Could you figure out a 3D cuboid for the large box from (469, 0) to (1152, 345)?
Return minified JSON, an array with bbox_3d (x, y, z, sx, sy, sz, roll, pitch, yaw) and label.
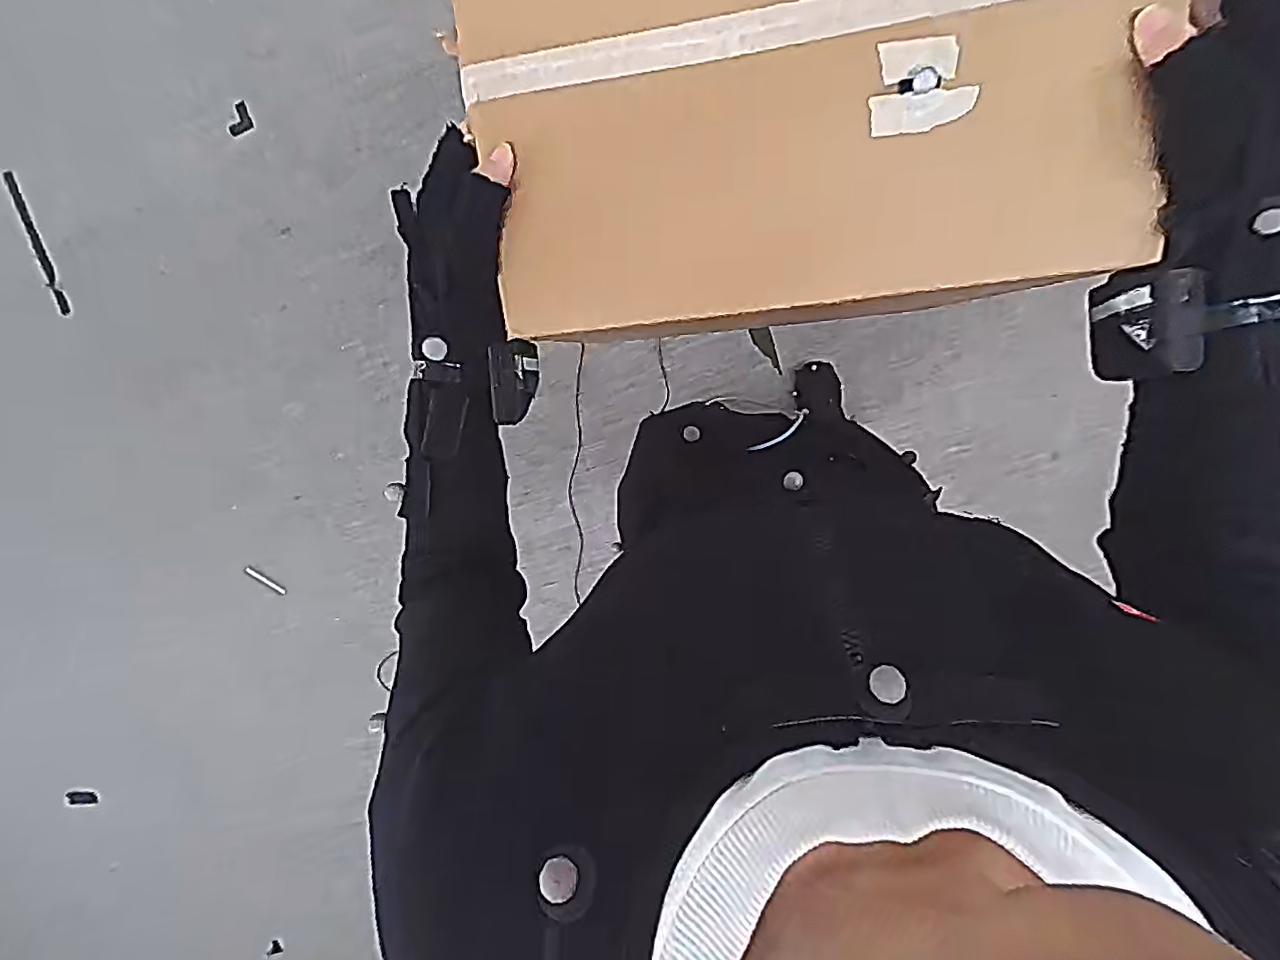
[{"bbox_3d":[0.107,-0.305,0.474,0.408,0.320,0.320,-5,103,7],"label":"large box"}]
